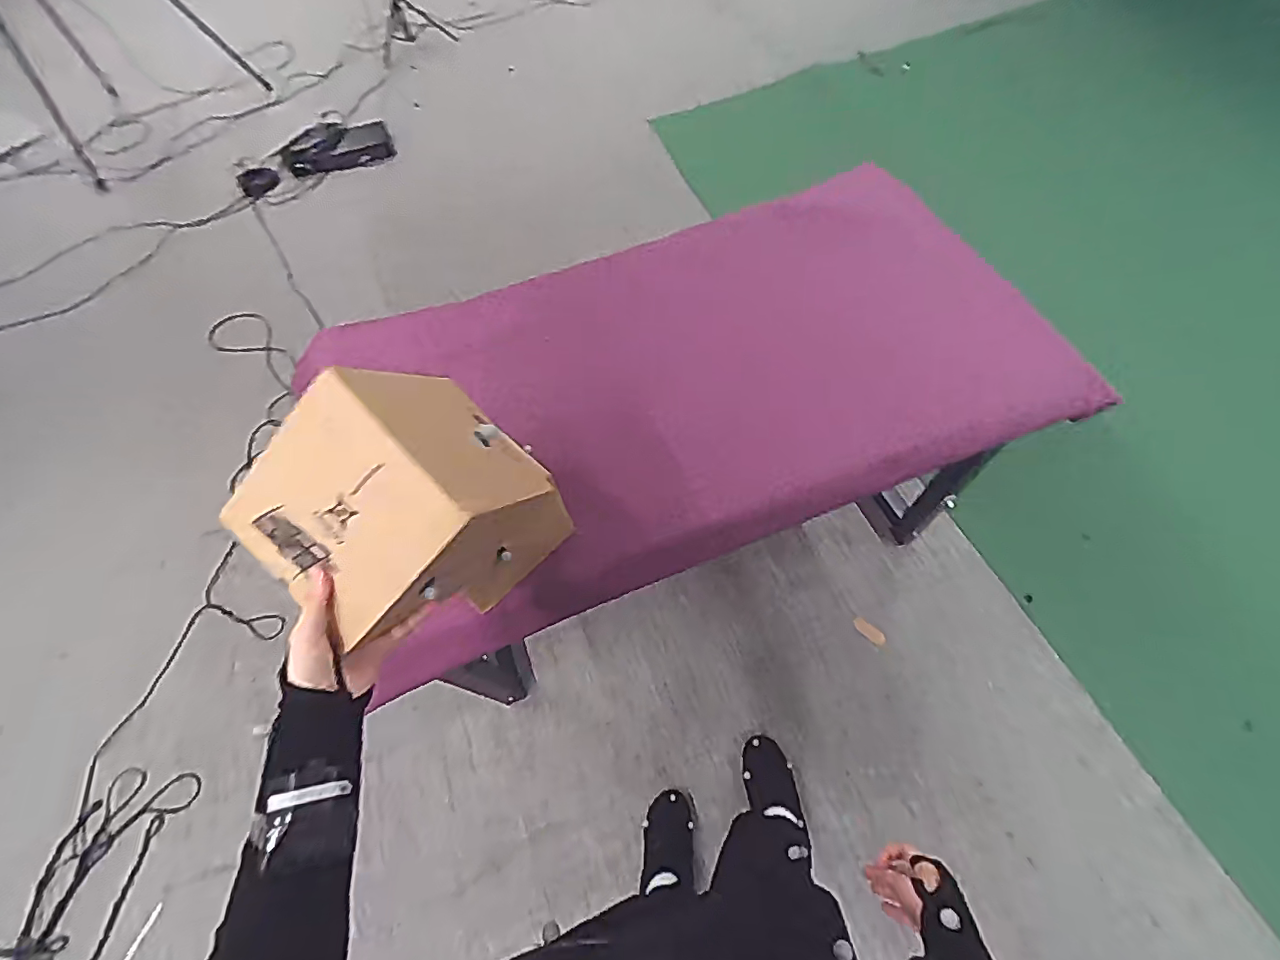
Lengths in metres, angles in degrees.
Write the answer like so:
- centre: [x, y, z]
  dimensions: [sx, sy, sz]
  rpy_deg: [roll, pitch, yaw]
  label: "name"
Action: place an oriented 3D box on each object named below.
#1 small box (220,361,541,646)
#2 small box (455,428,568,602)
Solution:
- centre: [-0.225, 0.014, 0.507]
  dimensions: [0.168, 0.176, 0.179]
  rpy_deg: [46, 105, 5]
  label: "small box"
- centre: [-0.220, 0.037, 0.730]
  dimensions: [0.168, 0.176, 0.179]
  rpy_deg: [39, 71, 22]
  label: "small box"
